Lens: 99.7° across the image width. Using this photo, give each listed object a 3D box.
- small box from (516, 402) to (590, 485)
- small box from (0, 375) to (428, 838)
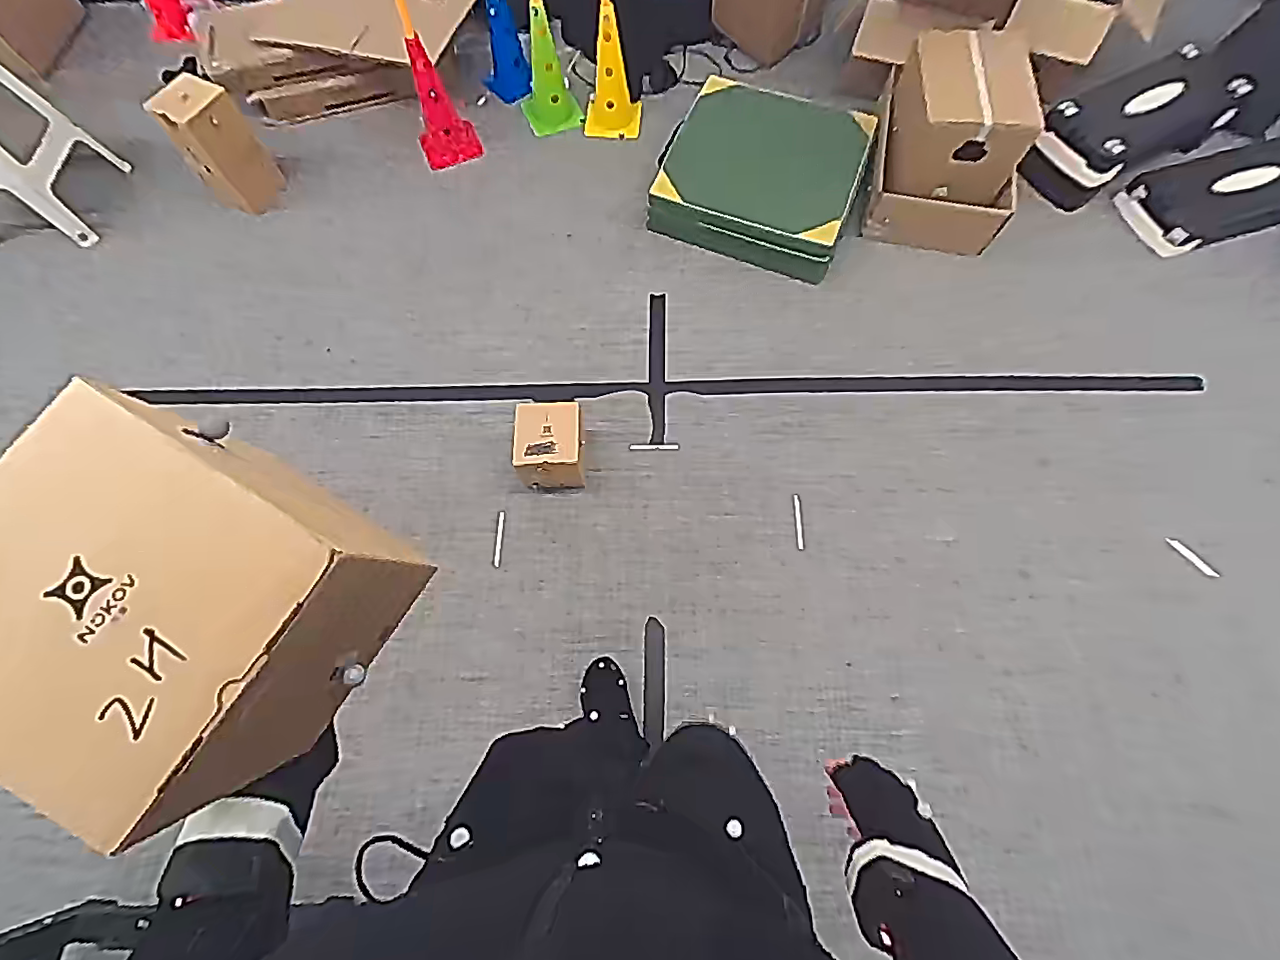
[{"bbox_3d":[-0.226,-0.091,1.449,0.168,0.176,0.179,-1,68,1],"label":"small box"},{"bbox_3d":[-0.275,0.069,0.349,0.179,0.176,0.168,37,80,1],"label":"small box"}]
